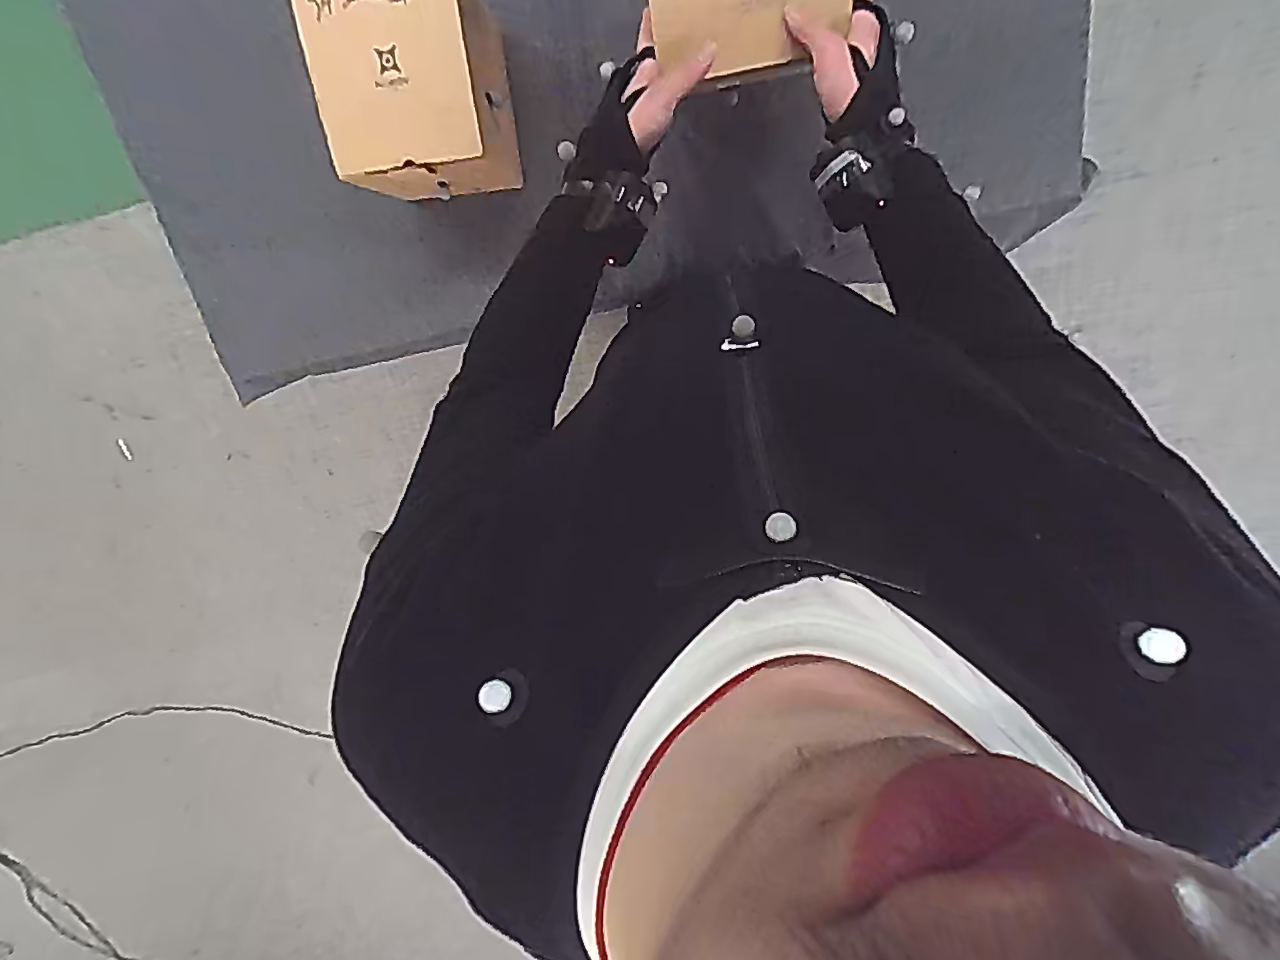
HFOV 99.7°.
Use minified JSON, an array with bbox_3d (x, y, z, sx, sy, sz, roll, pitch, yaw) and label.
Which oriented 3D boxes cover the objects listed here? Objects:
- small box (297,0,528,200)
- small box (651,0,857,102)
[{"bbox_3d":[-0.242,-0.436,0.626,0.168,0.176,0.179,-6,108,8],"label":"small box"},{"bbox_3d":[0.092,-0.459,0.481,0.168,0.176,0.179,-4,121,9],"label":"small box"}]
